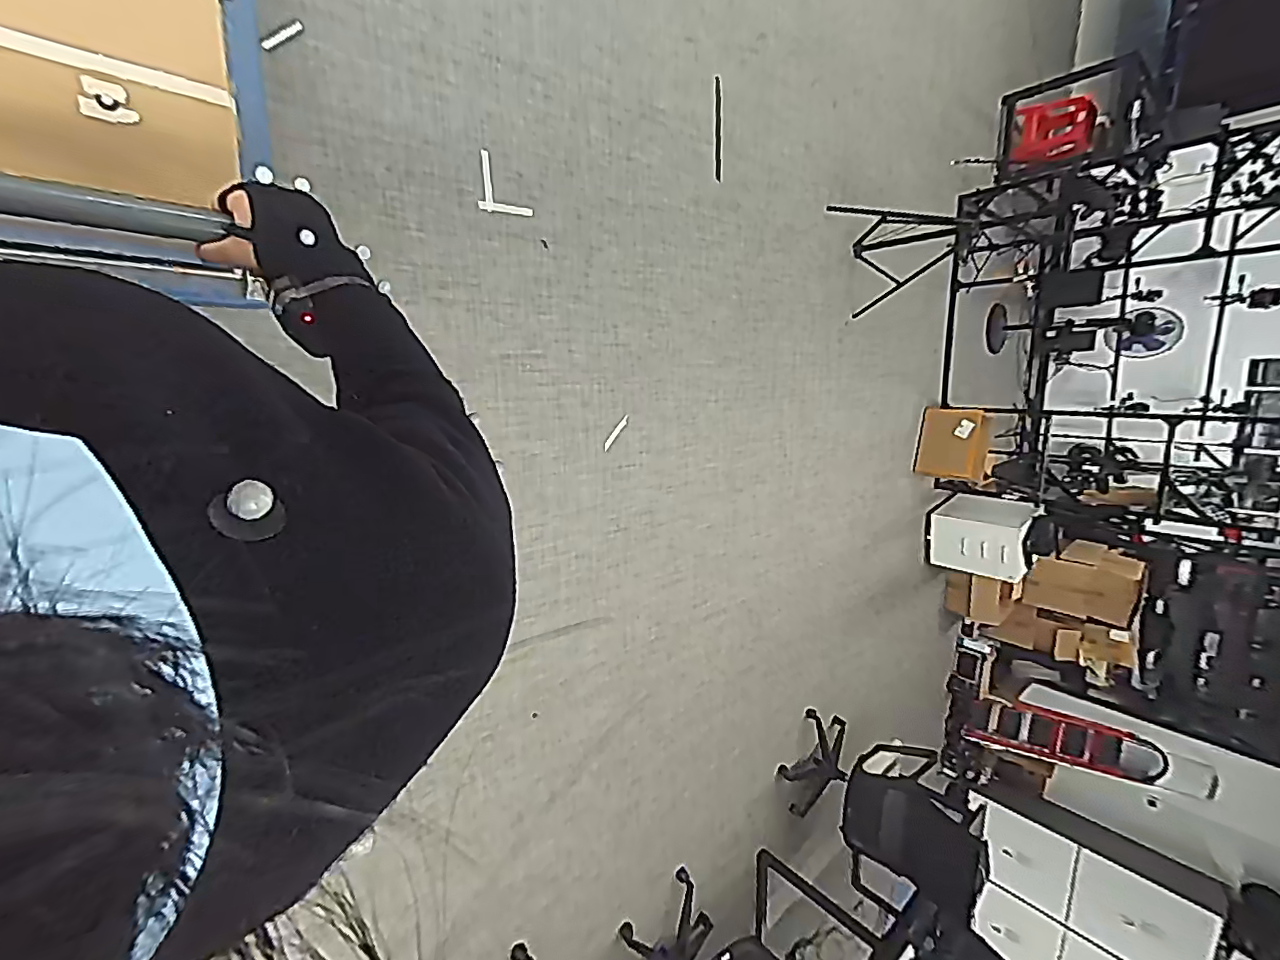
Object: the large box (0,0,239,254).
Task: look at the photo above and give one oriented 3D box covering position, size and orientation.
[{"bbox_3d":[-0.850,-0.534,0.763,0.408,0.320,0.320,-8,104,-42],"label":"large box"}]
